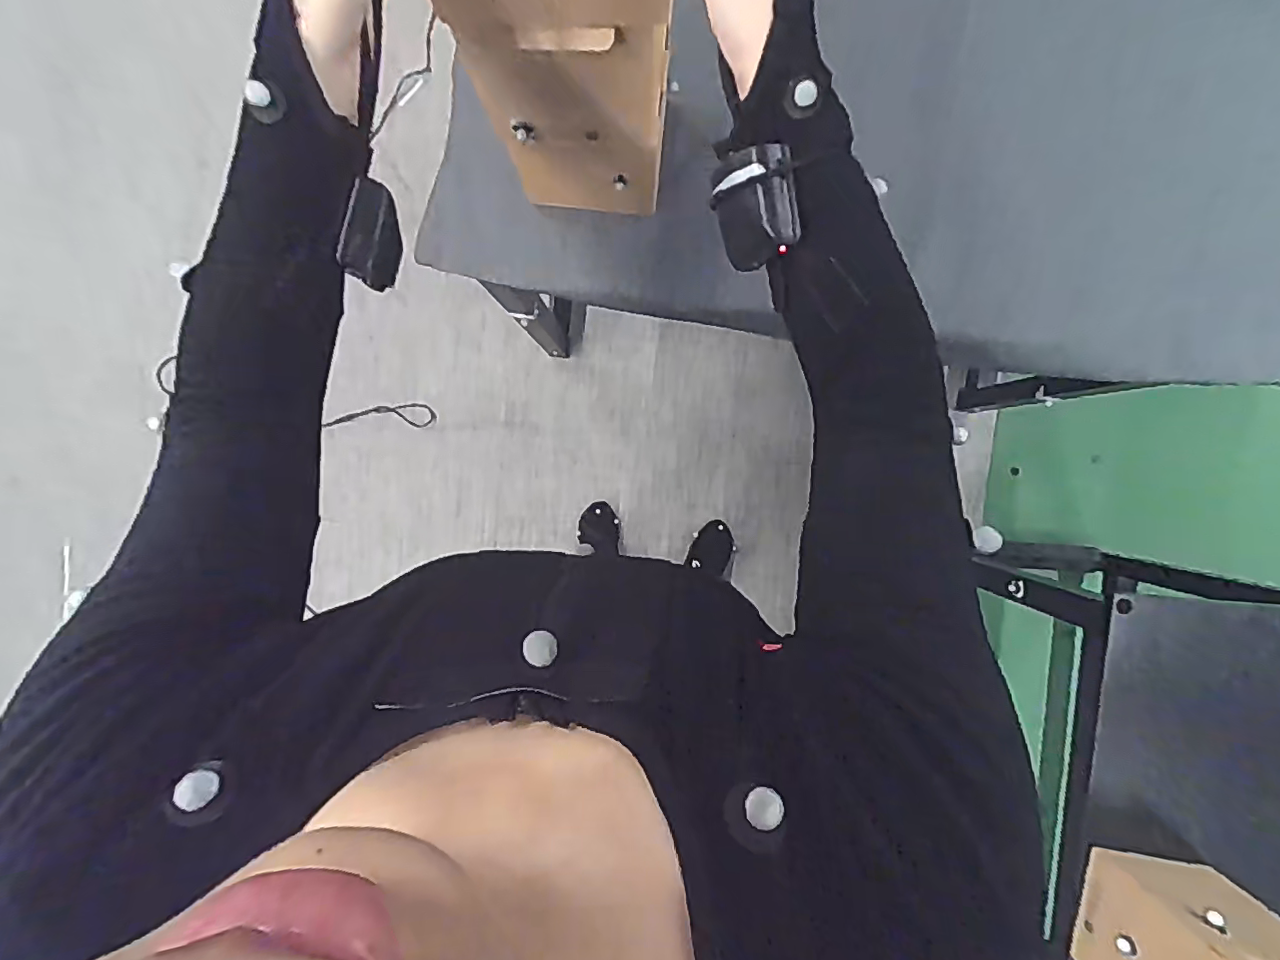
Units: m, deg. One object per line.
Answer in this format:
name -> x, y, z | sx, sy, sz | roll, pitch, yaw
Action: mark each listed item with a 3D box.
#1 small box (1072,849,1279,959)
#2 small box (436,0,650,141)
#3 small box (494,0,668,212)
small box -> 0.714, 0.619, 0.697 | 0.179, 0.176, 0.168 | 10, 93, 0
small box -> -0.075, -0.445, 0.497 | 0.168, 0.176, 0.179 | 1, 90, 0
small box -> -0.063, -0.451, 0.661 | 0.179, 0.176, 0.168 | 5, 91, 1
